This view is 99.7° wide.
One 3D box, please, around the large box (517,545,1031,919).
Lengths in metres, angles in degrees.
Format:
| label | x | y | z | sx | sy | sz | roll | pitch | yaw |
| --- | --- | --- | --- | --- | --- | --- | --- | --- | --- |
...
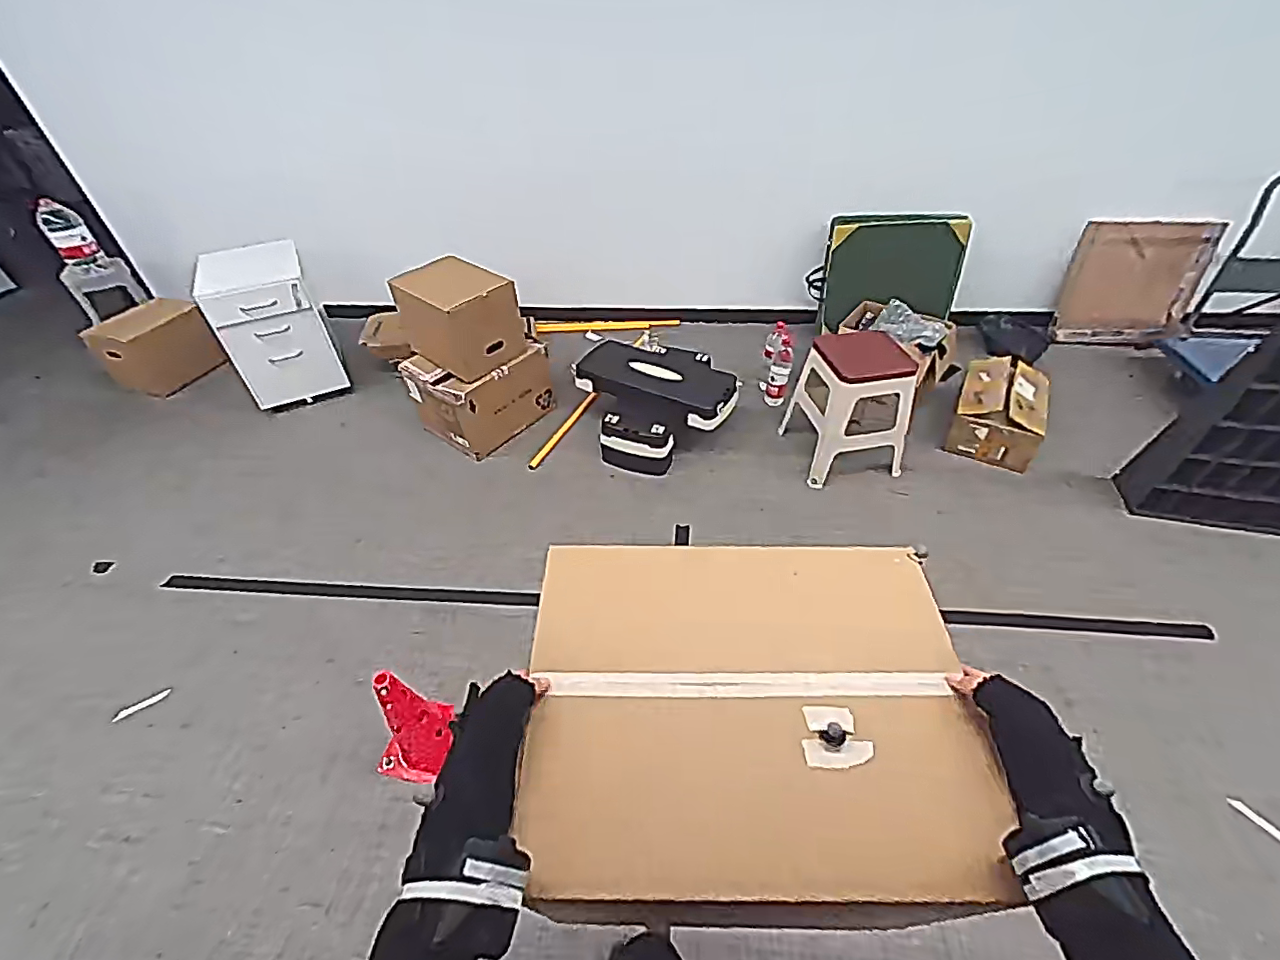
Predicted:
| label | x | y | z | sx | sy | sz | roll | pitch | yaw |
| --- | --- | --- | --- | --- | --- | --- | --- | --- | --- |
| large box | 0.100 | 0.288 | 0.618 | 0.408 | 0.320 | 0.320 | 0 | 48 | 0 |

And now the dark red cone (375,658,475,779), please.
| label | x | y | z | sx | sy | sz | roll | pitch | yaw |
| --- | --- | --- | --- | --- | --- | --- | --- | --- | --- |
| dark red cone | -0.561 | 0.549 | 1.312 | 0.201 | 0.394 | 0.202 | 7 | 45 | 8 |
